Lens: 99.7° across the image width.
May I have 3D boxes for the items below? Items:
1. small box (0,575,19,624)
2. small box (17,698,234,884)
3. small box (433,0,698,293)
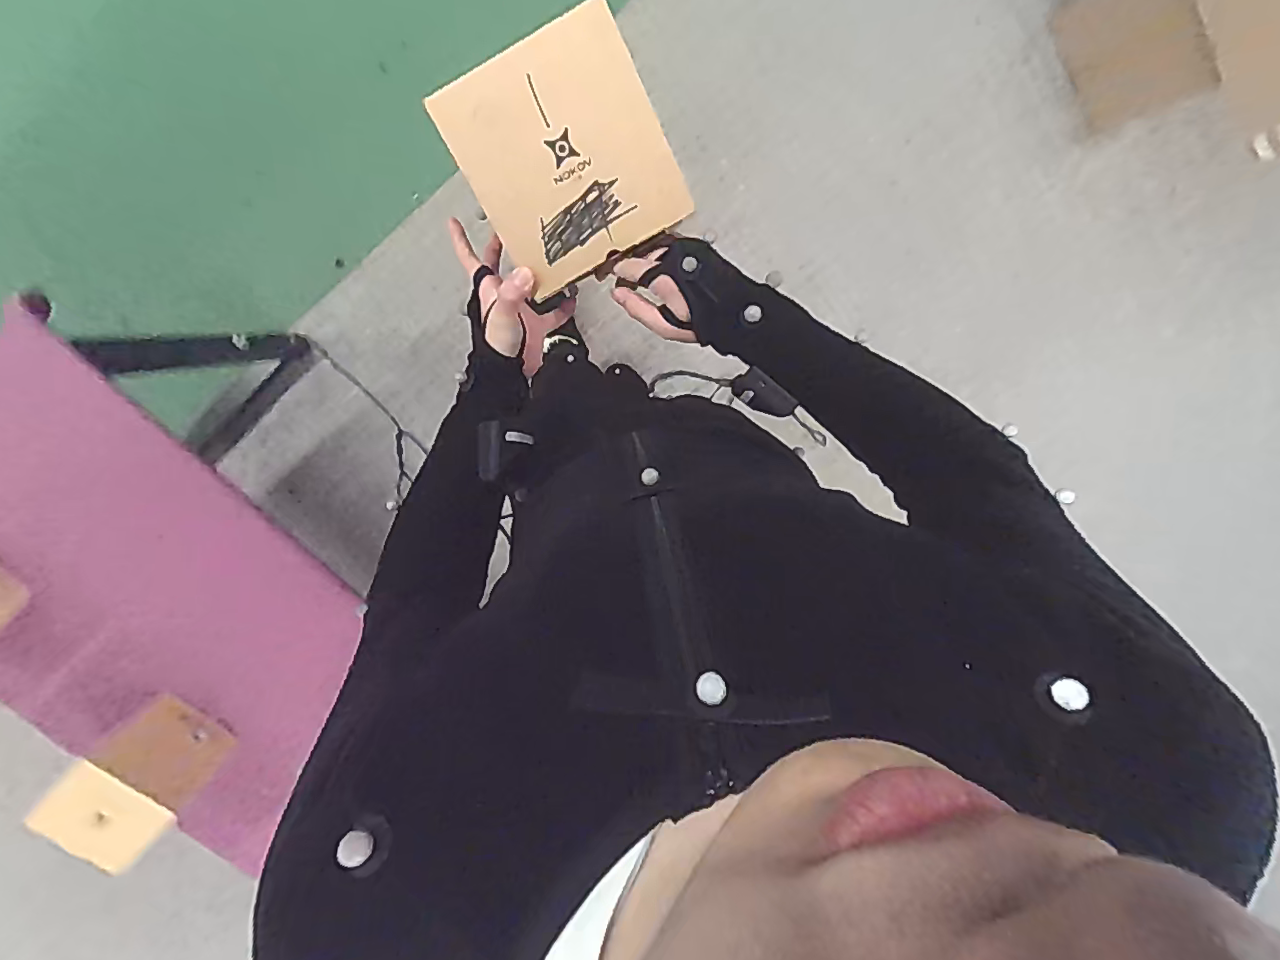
[{"bbox_3d":[-1.136,0.212,0.821,0.179,0.176,0.168,-41,103,9],"label":"small box"},{"bbox_3d":[-0.849,0.516,0.915,0.179,0.176,0.168,-43,103,8],"label":"small box"},{"bbox_3d":[-0.063,-0.302,0.523,0.168,0.176,0.179,-26,111,4],"label":"small box"}]
